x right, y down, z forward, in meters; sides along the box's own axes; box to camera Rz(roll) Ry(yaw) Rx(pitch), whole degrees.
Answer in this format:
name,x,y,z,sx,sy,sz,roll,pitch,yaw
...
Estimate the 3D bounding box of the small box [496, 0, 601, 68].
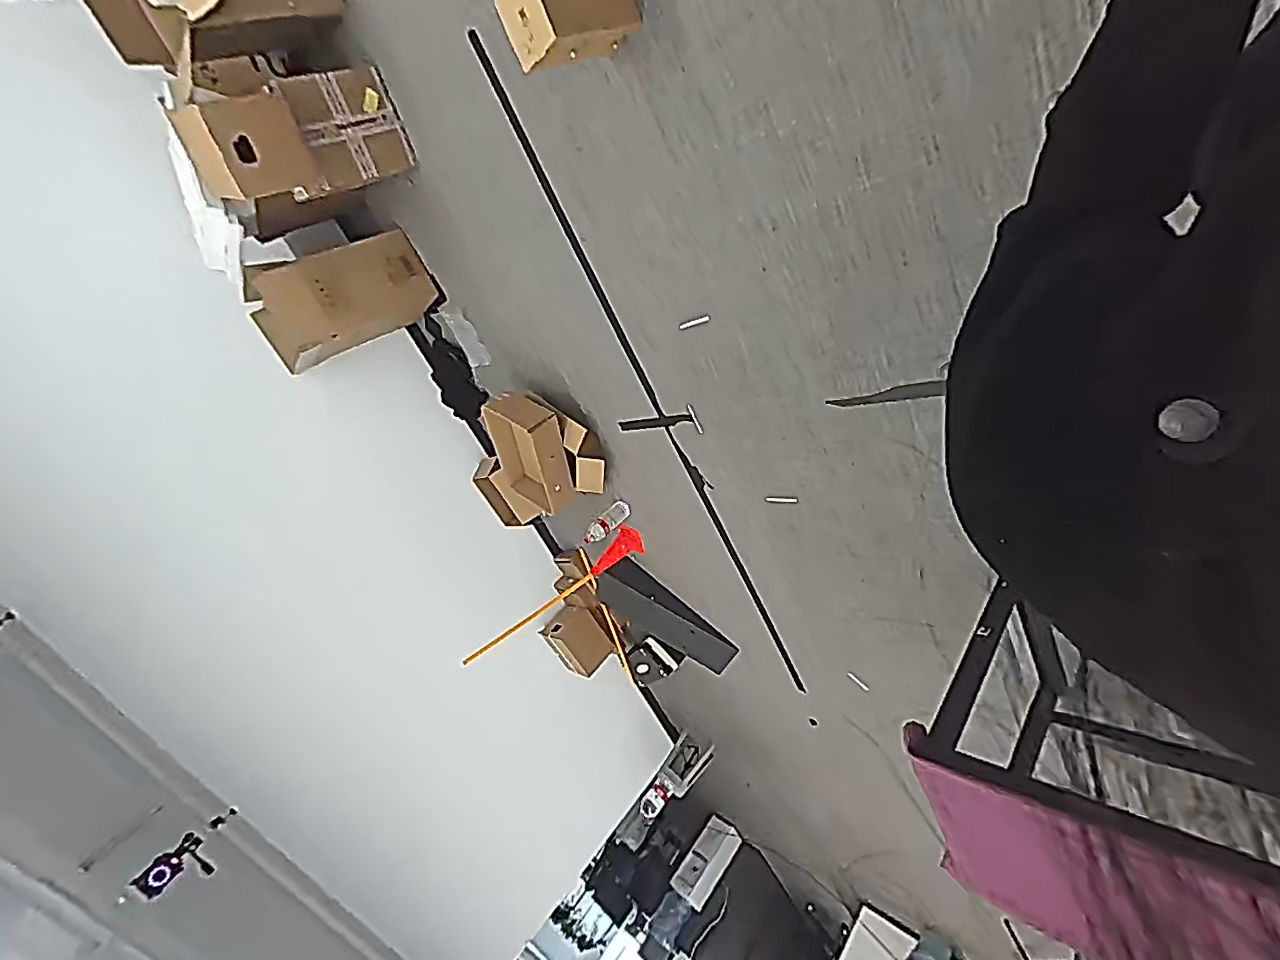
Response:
name,x,y,z,sx,sy,sz,roll,pitch,yaw
small box,-0.234,-1.207,1.387,0.168,0.176,0.179,6,129,50
